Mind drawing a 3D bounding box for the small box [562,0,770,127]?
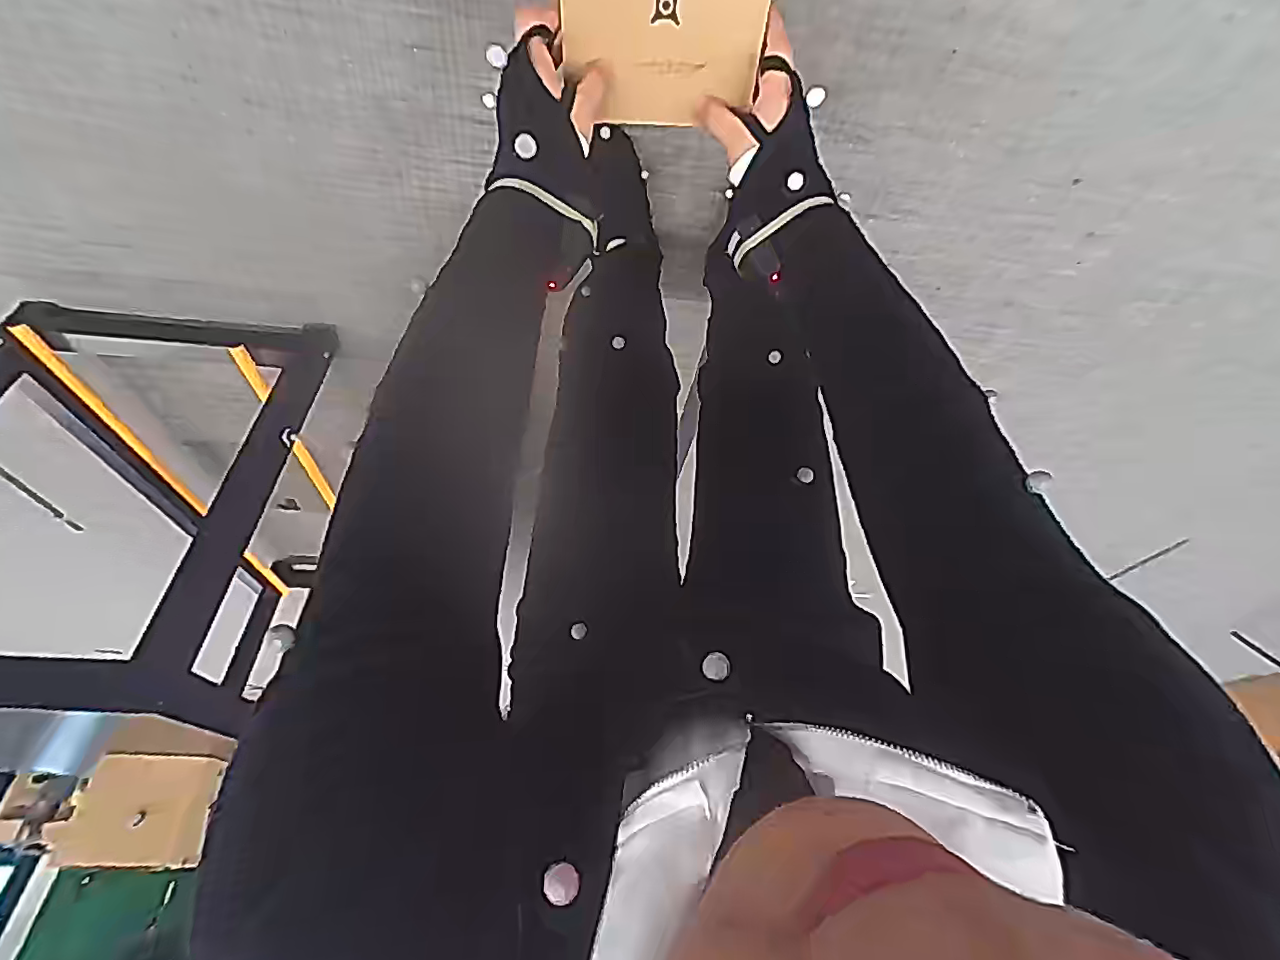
[{"bbox_3d":[0.015,-0.438,0.466,0.168,0.176,0.179,-1,144,-4],"label":"small box"}]
